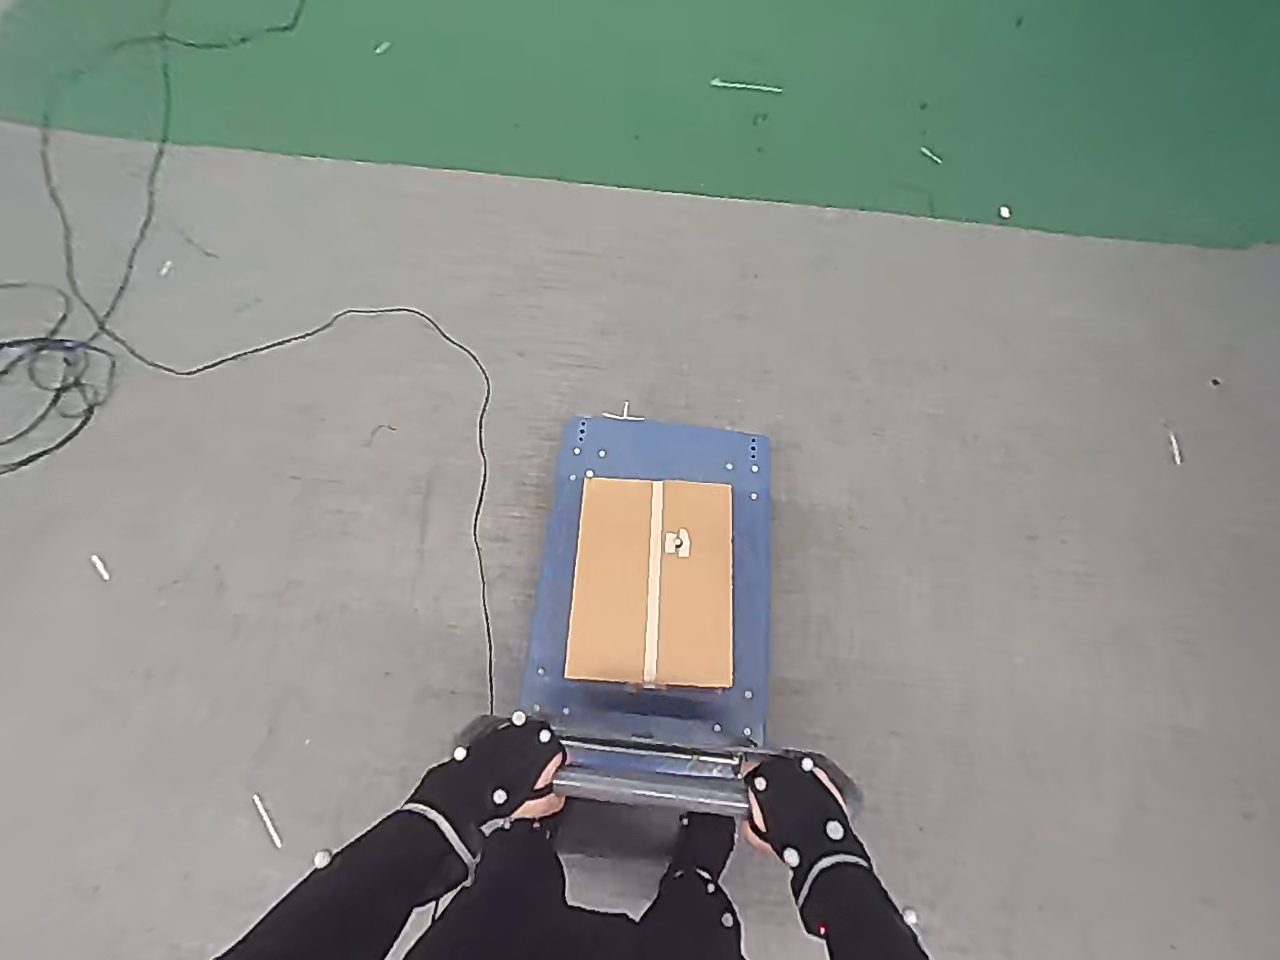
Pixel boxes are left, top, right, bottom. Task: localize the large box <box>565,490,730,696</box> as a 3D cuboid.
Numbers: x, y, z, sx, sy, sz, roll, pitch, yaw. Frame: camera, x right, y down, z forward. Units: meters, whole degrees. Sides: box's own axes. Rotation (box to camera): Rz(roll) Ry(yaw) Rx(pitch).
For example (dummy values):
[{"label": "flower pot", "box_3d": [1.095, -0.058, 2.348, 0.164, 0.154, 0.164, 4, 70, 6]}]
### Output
[{"label": "large box", "box_3d": [0.020, 0.267, 1.212, 0.320, 0.320, 0.408, 3, 68, 0]}]
